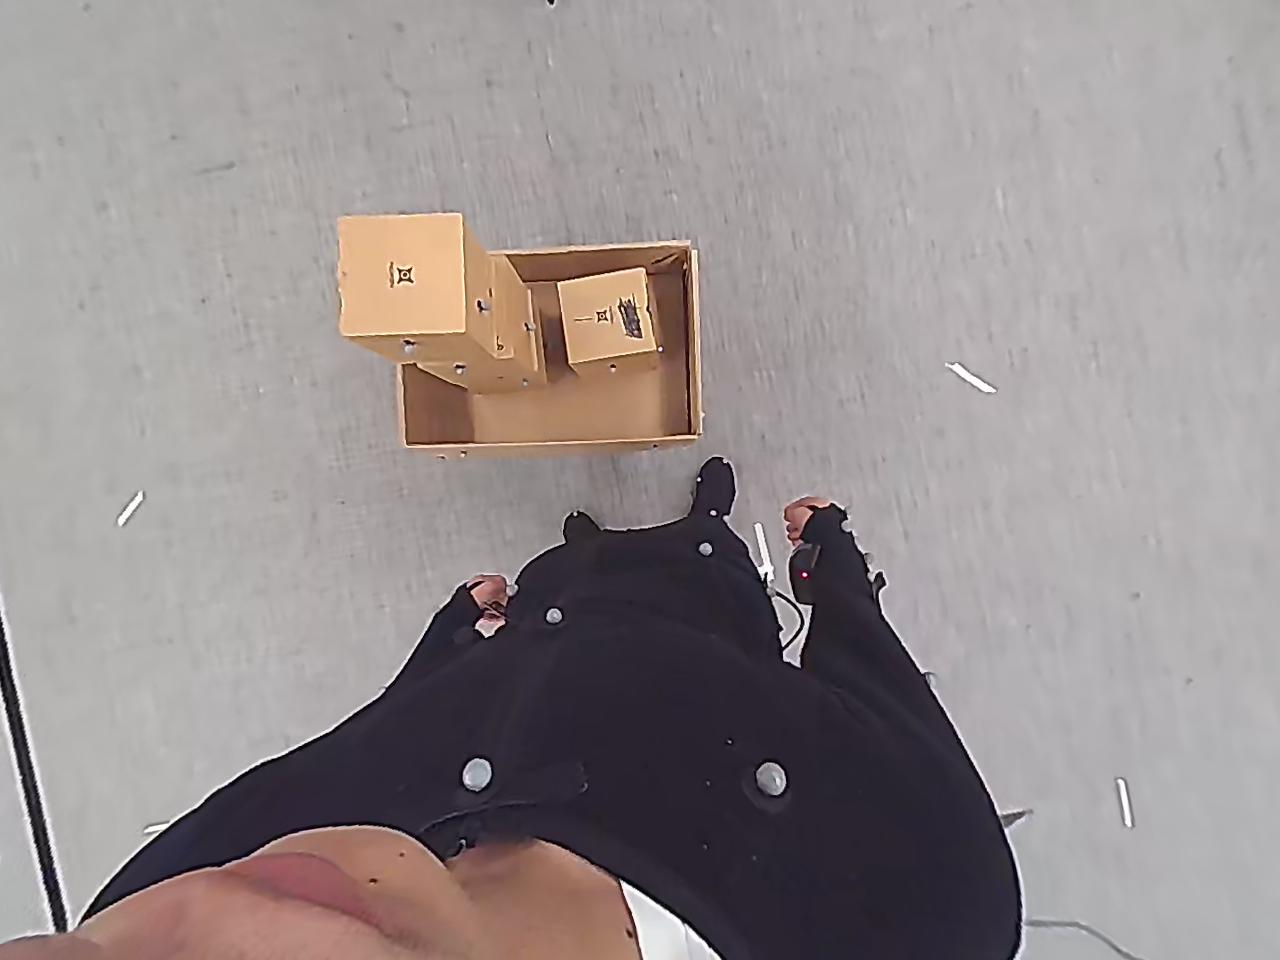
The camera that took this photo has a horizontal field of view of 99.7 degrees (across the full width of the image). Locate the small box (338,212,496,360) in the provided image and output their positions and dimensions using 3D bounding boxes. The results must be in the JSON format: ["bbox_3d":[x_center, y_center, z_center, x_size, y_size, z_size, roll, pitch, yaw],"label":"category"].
[{"bbox_3d":[-0.321,-0.281,0.814,0.179,0.176,0.168,-2,90,1],"label":"small box"}]

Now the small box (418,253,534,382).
[{"bbox_3d":[-0.293,-0.284,0.976,0.168,0.176,0.179,-5,90,1],"label":"small box"}]
